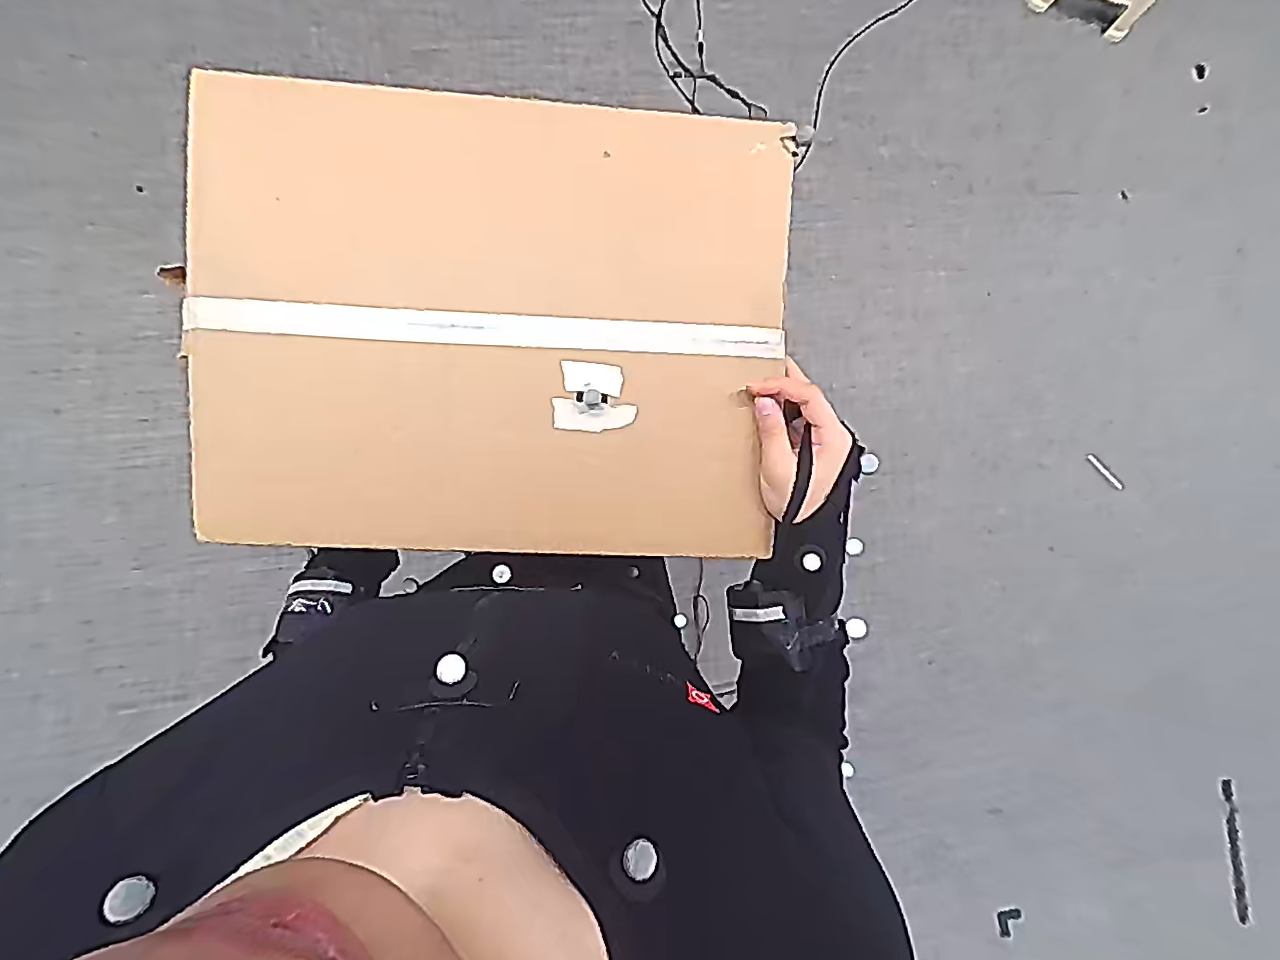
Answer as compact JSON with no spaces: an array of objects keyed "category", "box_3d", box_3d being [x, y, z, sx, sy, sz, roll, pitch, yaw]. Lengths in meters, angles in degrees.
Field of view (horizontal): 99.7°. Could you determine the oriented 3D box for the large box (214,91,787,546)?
[{"category":"large box","box_3d":[-0.106,-0.114,0.535,0.408,0.320,0.320,1,94,-5]}]
